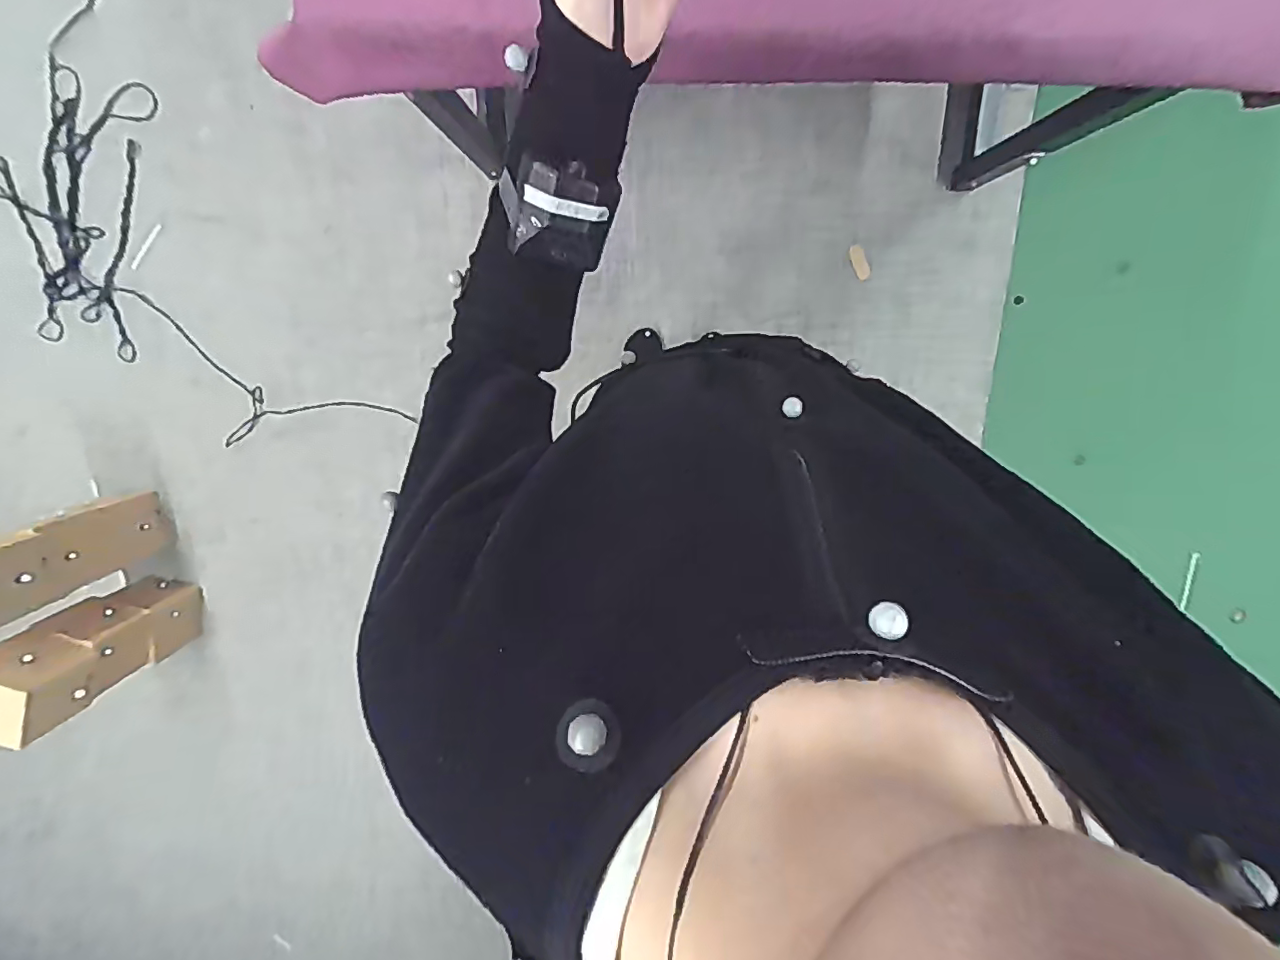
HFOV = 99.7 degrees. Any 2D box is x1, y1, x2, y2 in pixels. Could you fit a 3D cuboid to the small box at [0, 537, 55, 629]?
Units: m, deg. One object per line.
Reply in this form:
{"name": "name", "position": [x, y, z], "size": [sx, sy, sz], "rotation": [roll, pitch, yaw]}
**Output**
{"name": "small box", "position": [-1.454, 0.231, 1.183], "size": [0.179, 0.176, 0.168], "rotation": [-4, 104, 0]}

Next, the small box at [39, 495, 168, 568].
{"name": "small box", "position": [-1.468, 0.147, 1.498], "size": [0.179, 0.176, 0.168], "rotation": [-7, 104, 3]}

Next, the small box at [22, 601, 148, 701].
{"name": "small box", "position": [-1.439, 0.446, 1.408], "size": [0.168, 0.176, 0.179], "rotation": [17, 103, -2]}

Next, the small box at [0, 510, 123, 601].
{"name": "small box", "position": [-1.457, 0.193, 1.342], "size": [0.168, 0.176, 0.179], "rotation": [-11, 104, 3]}

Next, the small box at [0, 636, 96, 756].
{"name": "small box", "position": [-1.435, 0.488, 1.249], "size": [0.179, 0.176, 0.168], "rotation": [22, 103, -4]}
